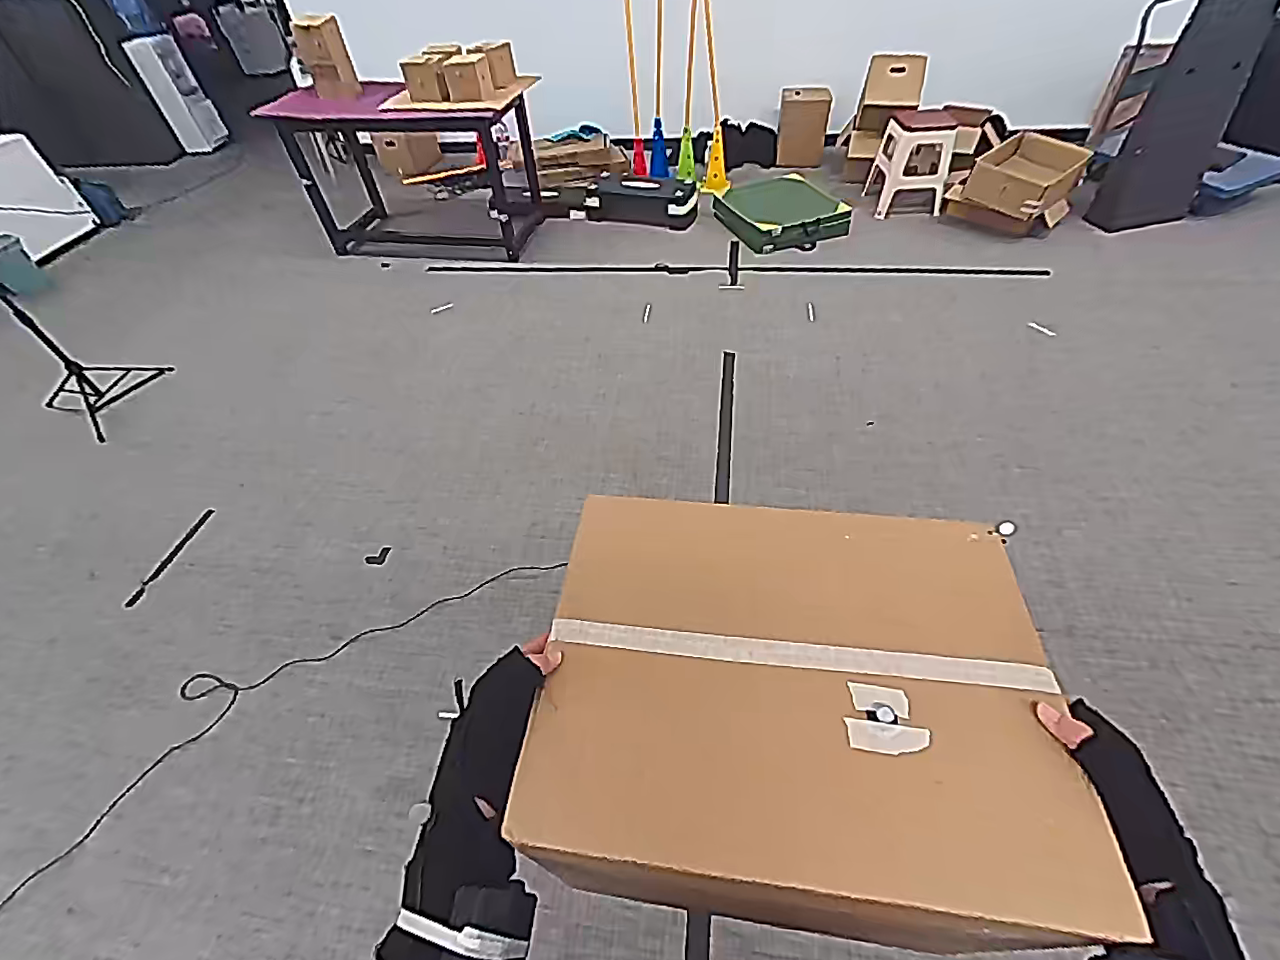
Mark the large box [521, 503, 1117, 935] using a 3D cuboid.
[{"bbox_3d":[0.132,0.248,0.571,0.408,0.320,0.320,4,49,7],"label":"large box"}]
